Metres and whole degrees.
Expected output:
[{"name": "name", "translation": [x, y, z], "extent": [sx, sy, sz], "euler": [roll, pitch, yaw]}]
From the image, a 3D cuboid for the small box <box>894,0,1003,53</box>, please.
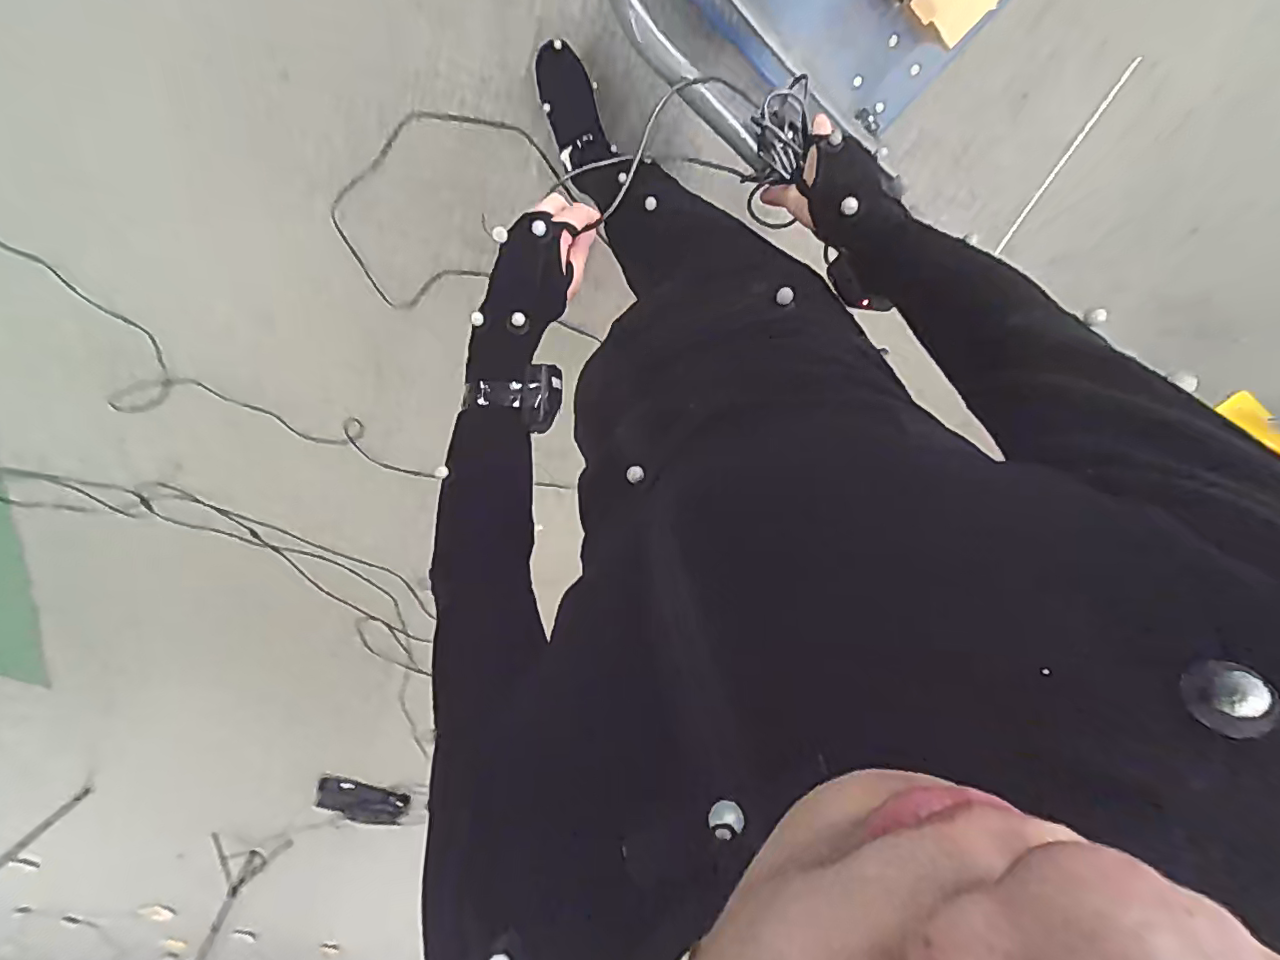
[{"name": "small box", "translation": [0.517, -0.852, 0.876], "extent": [0.168, 0.176, 0.179], "euler": [34, 130, -22]}]
